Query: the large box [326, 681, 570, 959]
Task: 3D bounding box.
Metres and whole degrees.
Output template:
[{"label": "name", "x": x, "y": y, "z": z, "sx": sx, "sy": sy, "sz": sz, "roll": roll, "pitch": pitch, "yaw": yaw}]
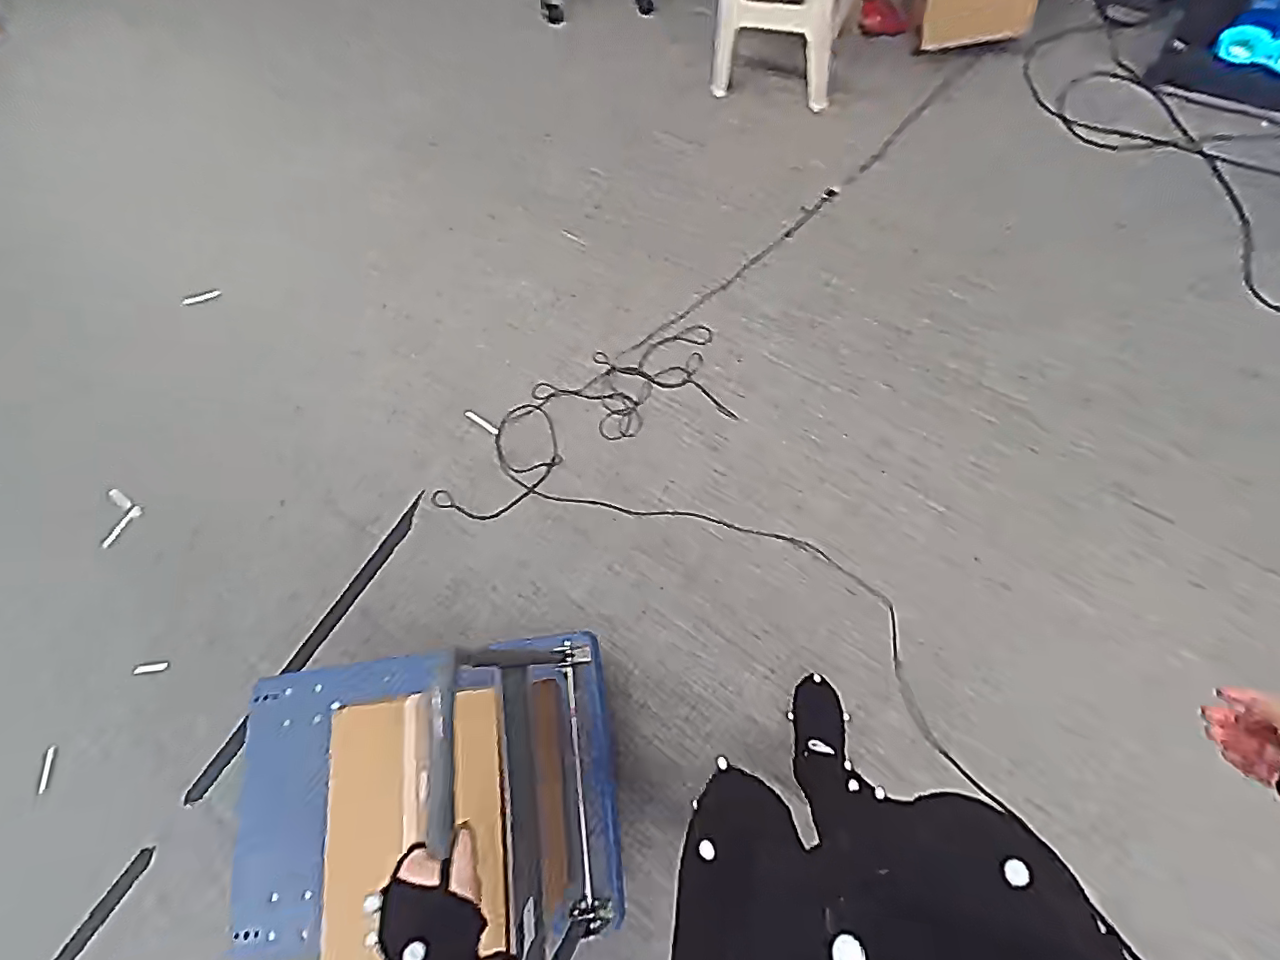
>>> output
[{"label": "large box", "x": -0.337, "y": 0.614, "z": 1.018, "sx": 0.320, "sy": 0.320, "sz": 0.408, "roll": -9, "pitch": 71, "yaw": 7}]
